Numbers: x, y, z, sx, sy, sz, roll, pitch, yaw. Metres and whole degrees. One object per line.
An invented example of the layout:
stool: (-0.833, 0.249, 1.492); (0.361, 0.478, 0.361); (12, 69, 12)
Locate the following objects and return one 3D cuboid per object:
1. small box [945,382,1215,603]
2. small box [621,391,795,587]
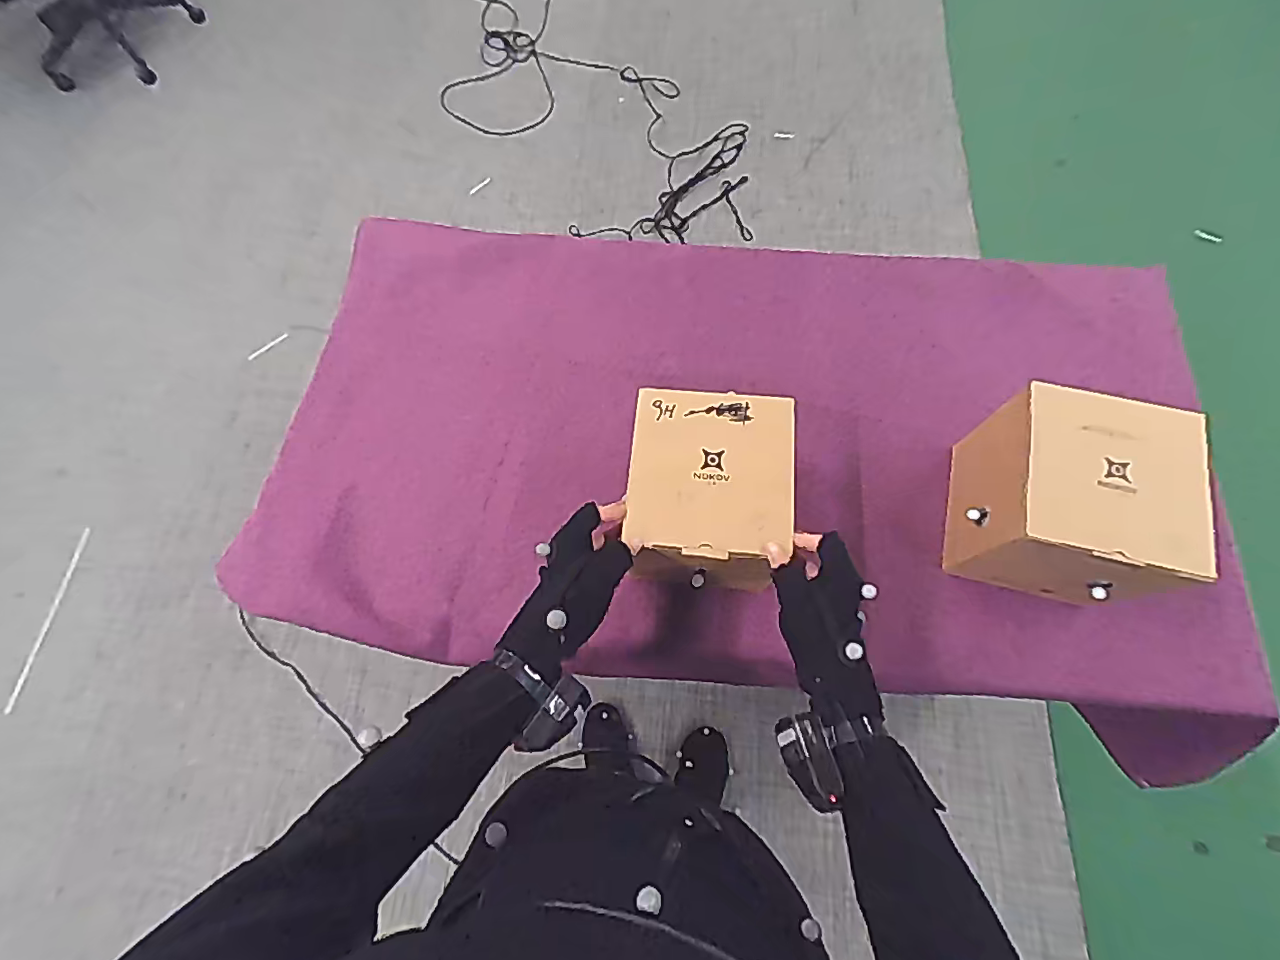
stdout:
small box: (0.462, 0.024, 0.595); (0.168, 0.176, 0.179); (14, 70, 8)
small box: (0.076, 0.019, 0.617); (0.168, 0.176, 0.179); (5, 70, 5)
